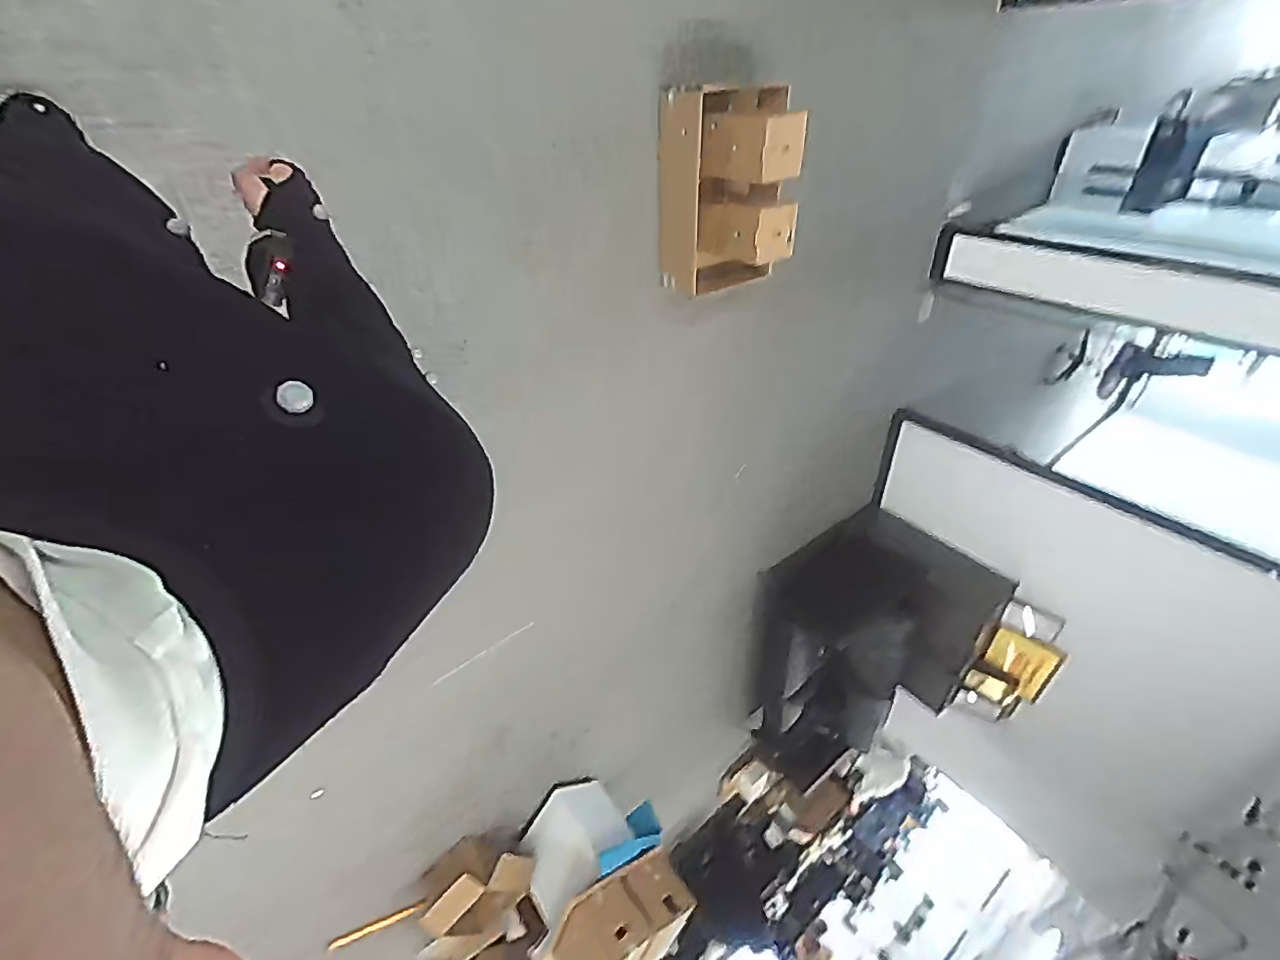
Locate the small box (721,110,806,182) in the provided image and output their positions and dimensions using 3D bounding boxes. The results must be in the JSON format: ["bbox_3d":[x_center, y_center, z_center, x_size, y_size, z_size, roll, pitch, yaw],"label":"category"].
[{"bbox_3d":[0.370,-1.012,1.634,0.179,0.176,0.168,-26,133,-27],"label":"small box"}]
